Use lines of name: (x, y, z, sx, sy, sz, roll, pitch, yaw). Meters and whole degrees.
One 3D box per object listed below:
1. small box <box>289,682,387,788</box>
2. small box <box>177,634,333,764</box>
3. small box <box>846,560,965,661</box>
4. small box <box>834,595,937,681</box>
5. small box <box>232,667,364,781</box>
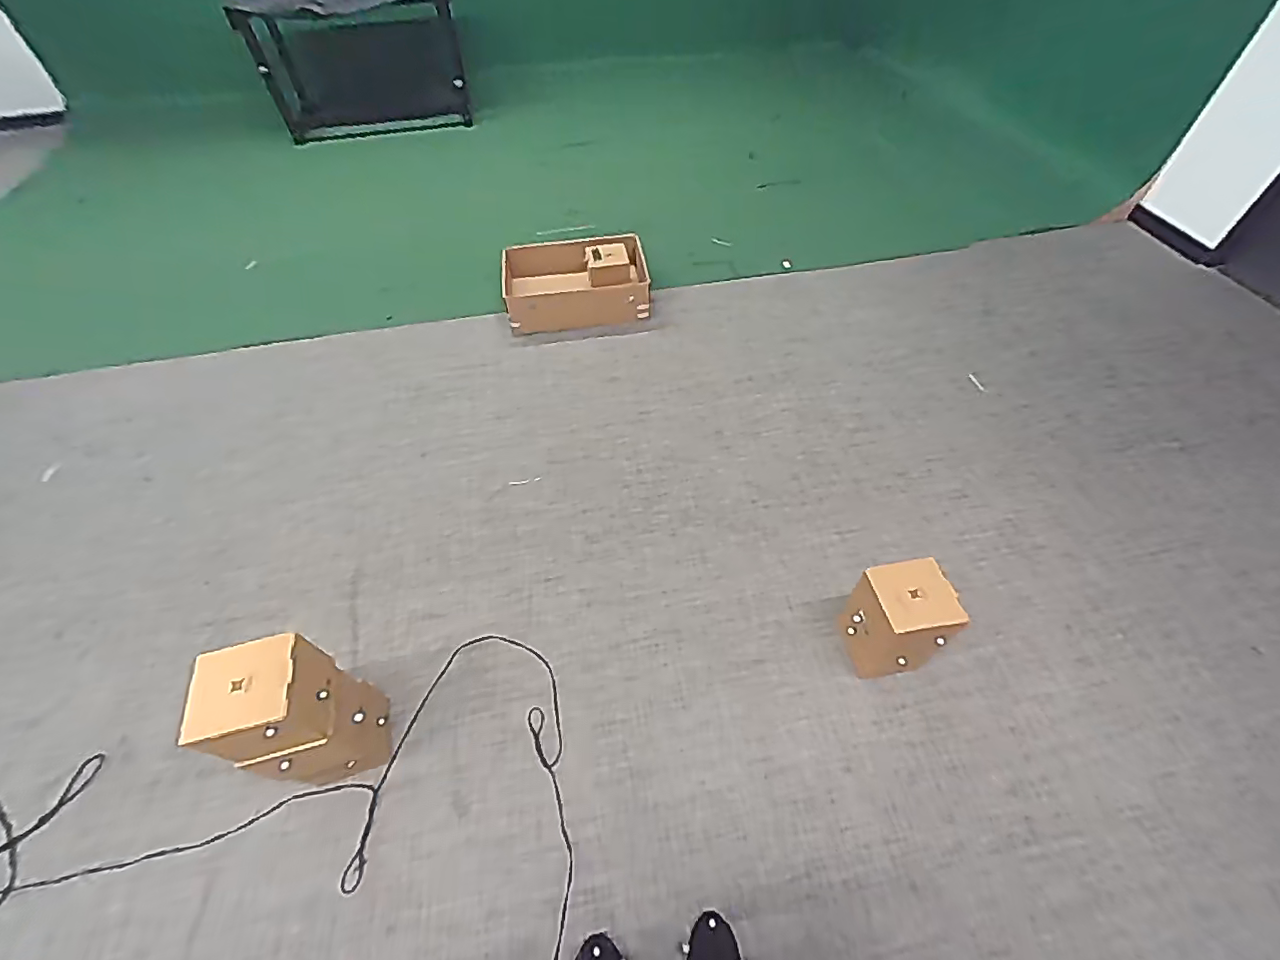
small box: (-0.727, 0.617, 1.305, 0.179, 0.176, 0.168, -16, 53, -10)
small box: (-0.725, 0.425, 1.041, 0.179, 0.176, 0.168, -13, 53, -9)
small box: (0.621, 0.313, 1.291, 0.179, 0.176, 0.168, -9, 51, -4)
small box: (0.634, 0.407, 1.424, 0.168, 0.176, 0.179, -9, 52, -5)
small box: (-0.724, 0.530, 1.166, 0.179, 0.176, 0.168, -12, 53, -9)
